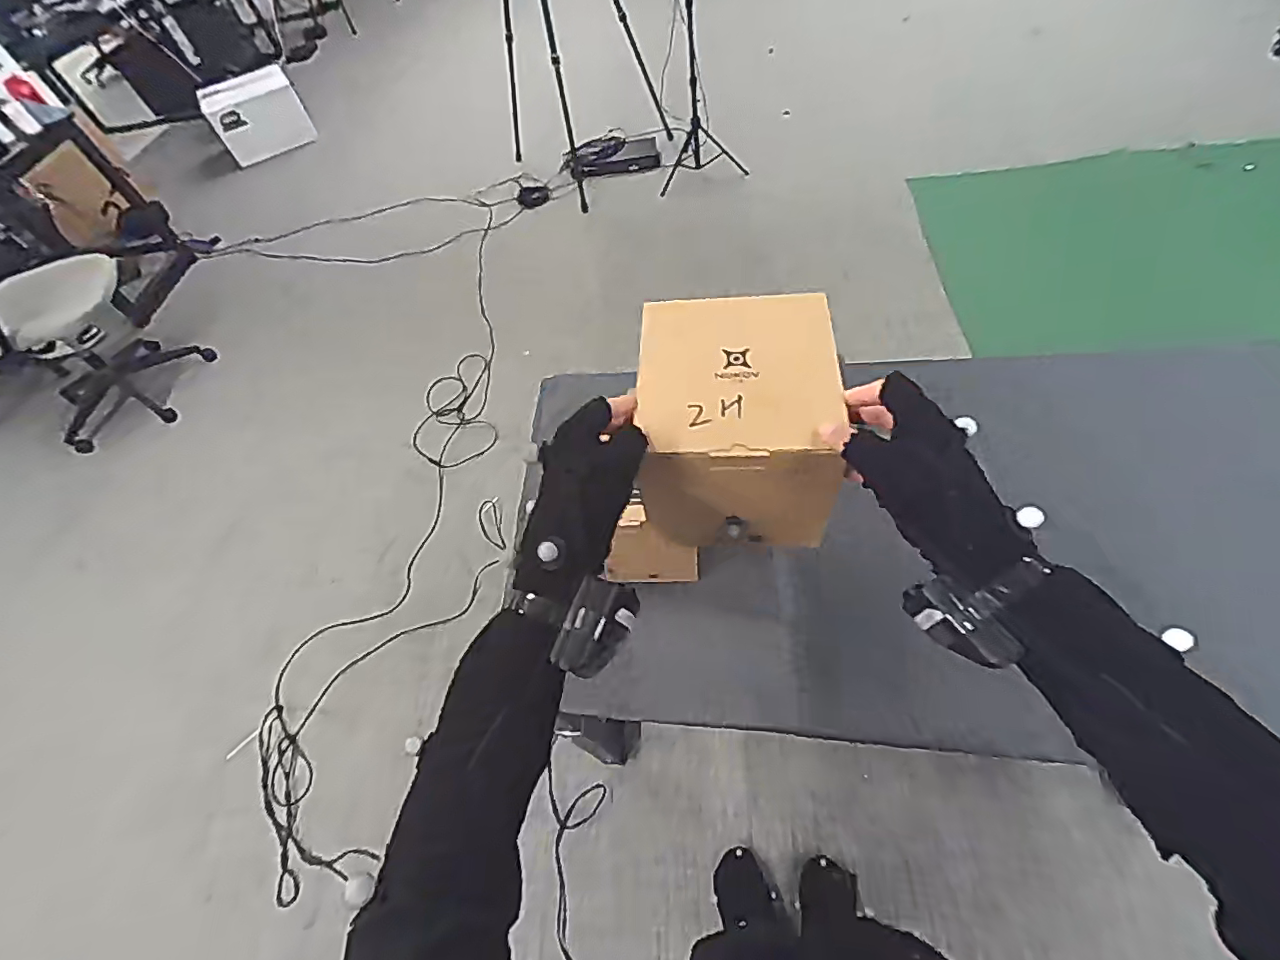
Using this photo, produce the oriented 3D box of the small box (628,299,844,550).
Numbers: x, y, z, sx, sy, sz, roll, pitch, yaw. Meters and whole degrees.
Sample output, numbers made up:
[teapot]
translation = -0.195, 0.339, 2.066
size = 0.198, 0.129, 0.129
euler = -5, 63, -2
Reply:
[small box]
translation = 0.085, -0.048, 0.521
size = 0.168, 0.176, 0.179
euler = -1, 59, 8
